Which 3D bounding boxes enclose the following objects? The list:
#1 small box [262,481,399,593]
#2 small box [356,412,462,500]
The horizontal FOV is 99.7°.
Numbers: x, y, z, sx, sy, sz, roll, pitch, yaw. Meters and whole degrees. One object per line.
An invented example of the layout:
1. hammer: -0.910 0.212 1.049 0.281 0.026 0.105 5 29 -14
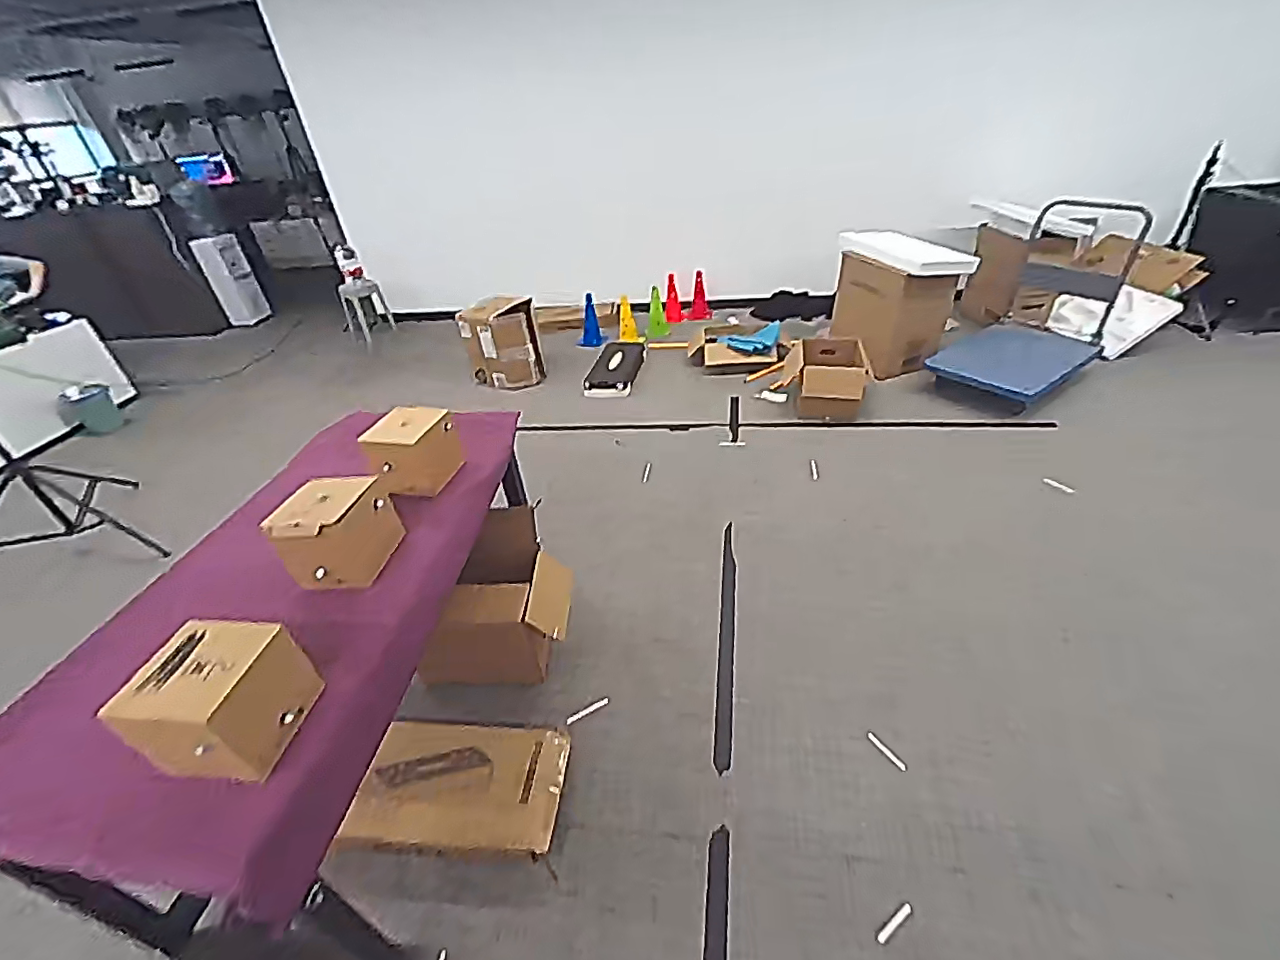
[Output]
1. small box: -0.648 0.121 1.164 0.168 0.176 0.179 -3 35 9
2. small box: -0.593 -0.064 1.418 0.168 0.176 0.179 3 36 13
